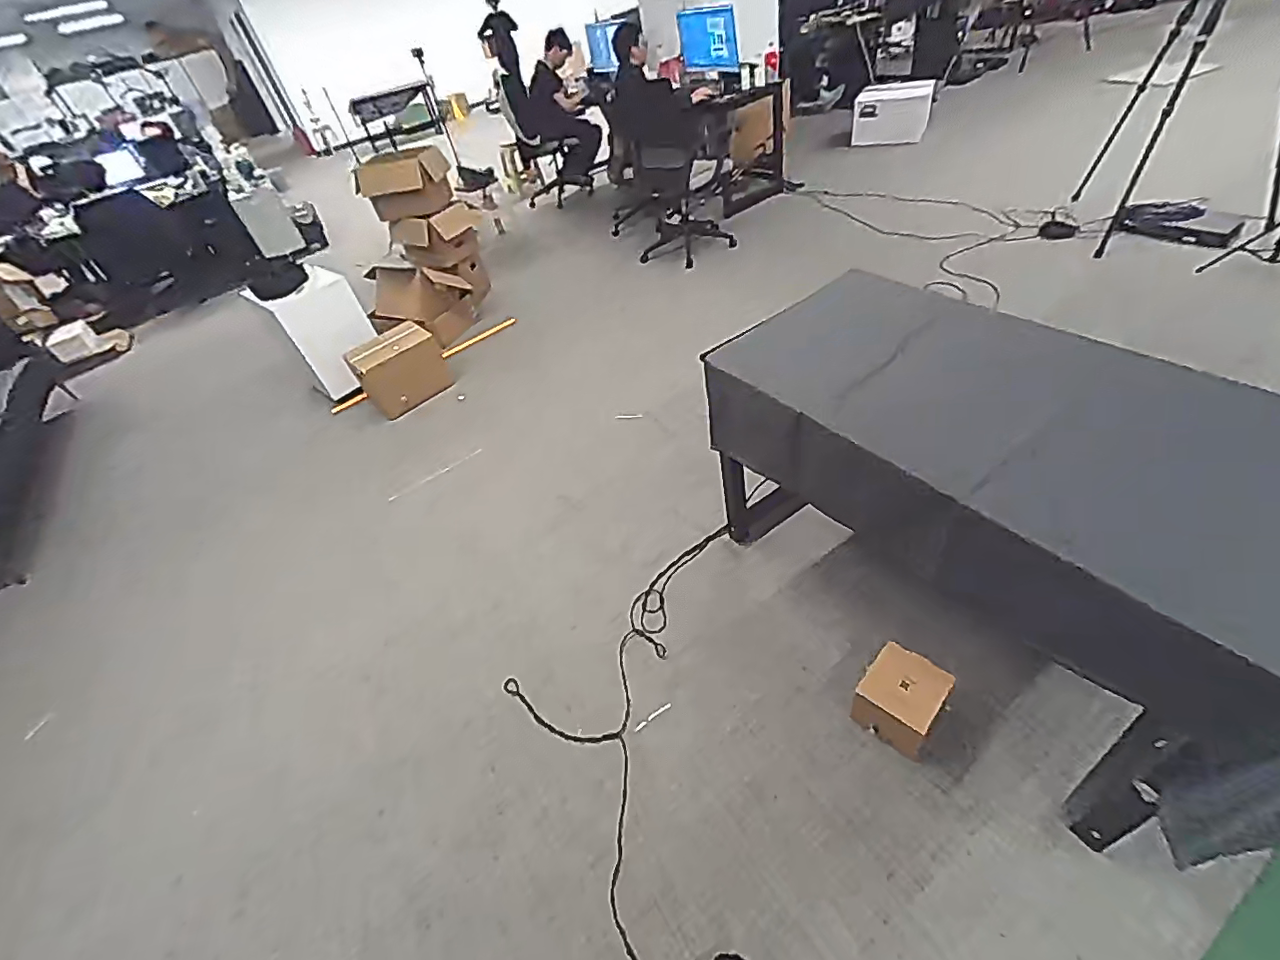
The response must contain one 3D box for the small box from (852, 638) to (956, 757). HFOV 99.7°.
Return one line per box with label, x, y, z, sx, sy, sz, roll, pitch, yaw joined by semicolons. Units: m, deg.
small box;0.642;0.537;1.335;0.168;0.176;0.179;29;57;37
